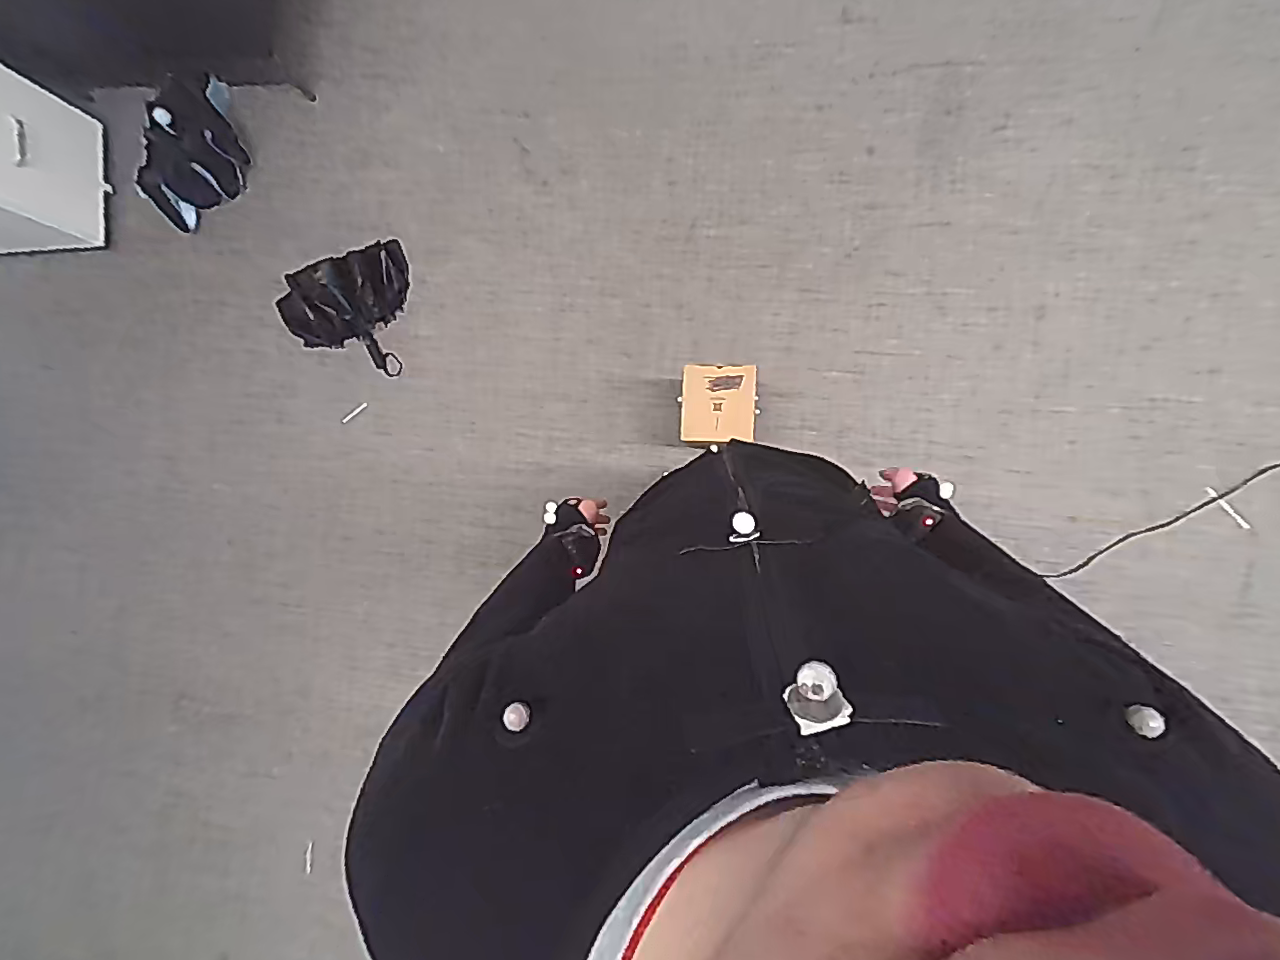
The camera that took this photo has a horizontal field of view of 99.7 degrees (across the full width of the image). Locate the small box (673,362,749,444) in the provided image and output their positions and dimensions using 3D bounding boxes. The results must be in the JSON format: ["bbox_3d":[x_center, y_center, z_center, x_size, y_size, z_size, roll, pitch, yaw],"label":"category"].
[{"bbox_3d":[0.172,-0.181,1.313,0.168,0.176,0.179,3,92,8],"label":"small box"}]
